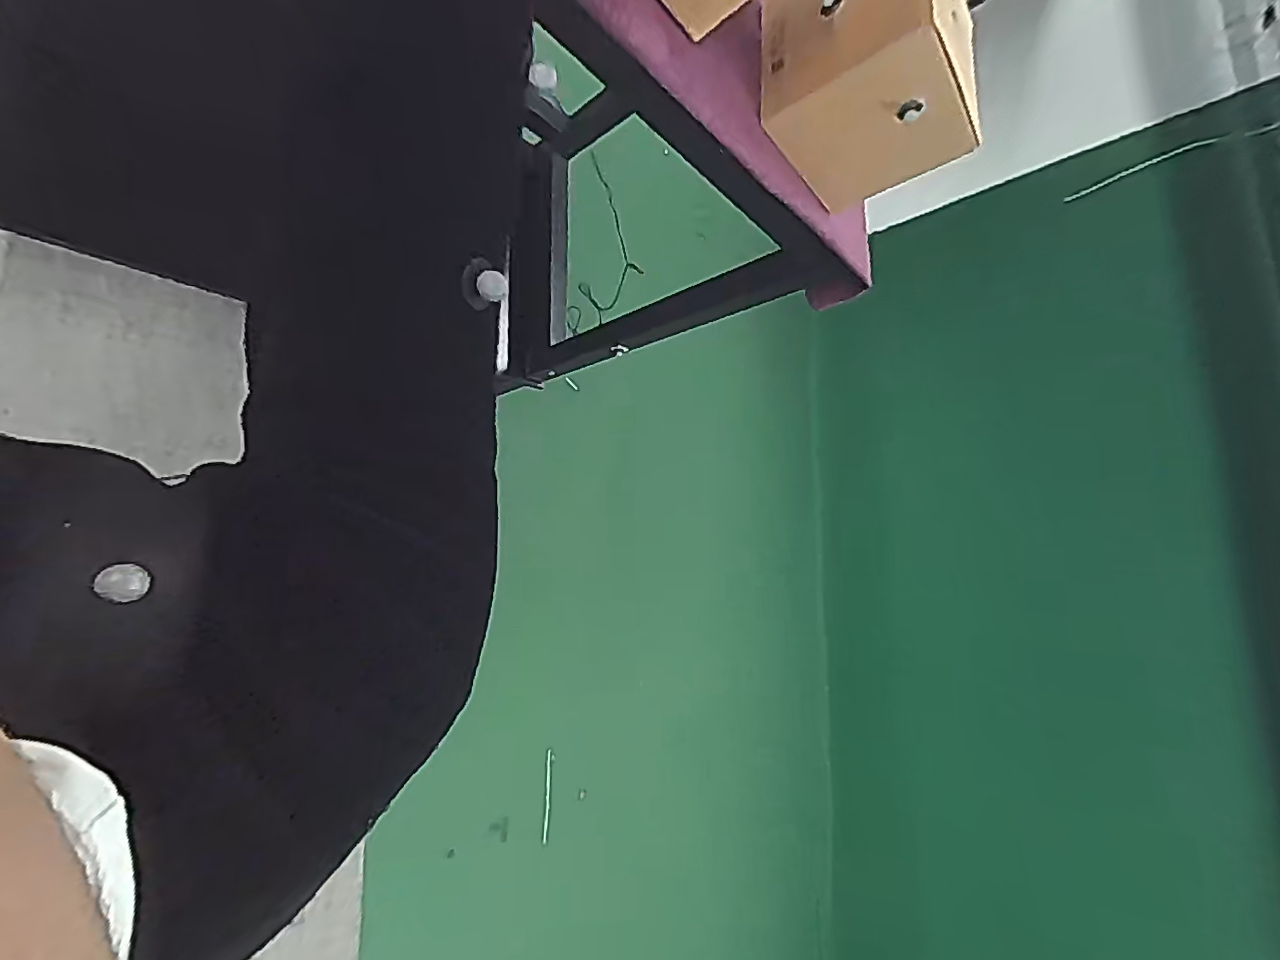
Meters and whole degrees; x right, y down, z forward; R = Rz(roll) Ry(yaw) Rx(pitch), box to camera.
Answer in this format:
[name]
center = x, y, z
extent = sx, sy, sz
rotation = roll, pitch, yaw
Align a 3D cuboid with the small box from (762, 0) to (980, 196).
[small box]
center = 0.245, -0.449, 0.584
extent = 0.179, 0.176, 0.168
rotation = 16, 73, -46
